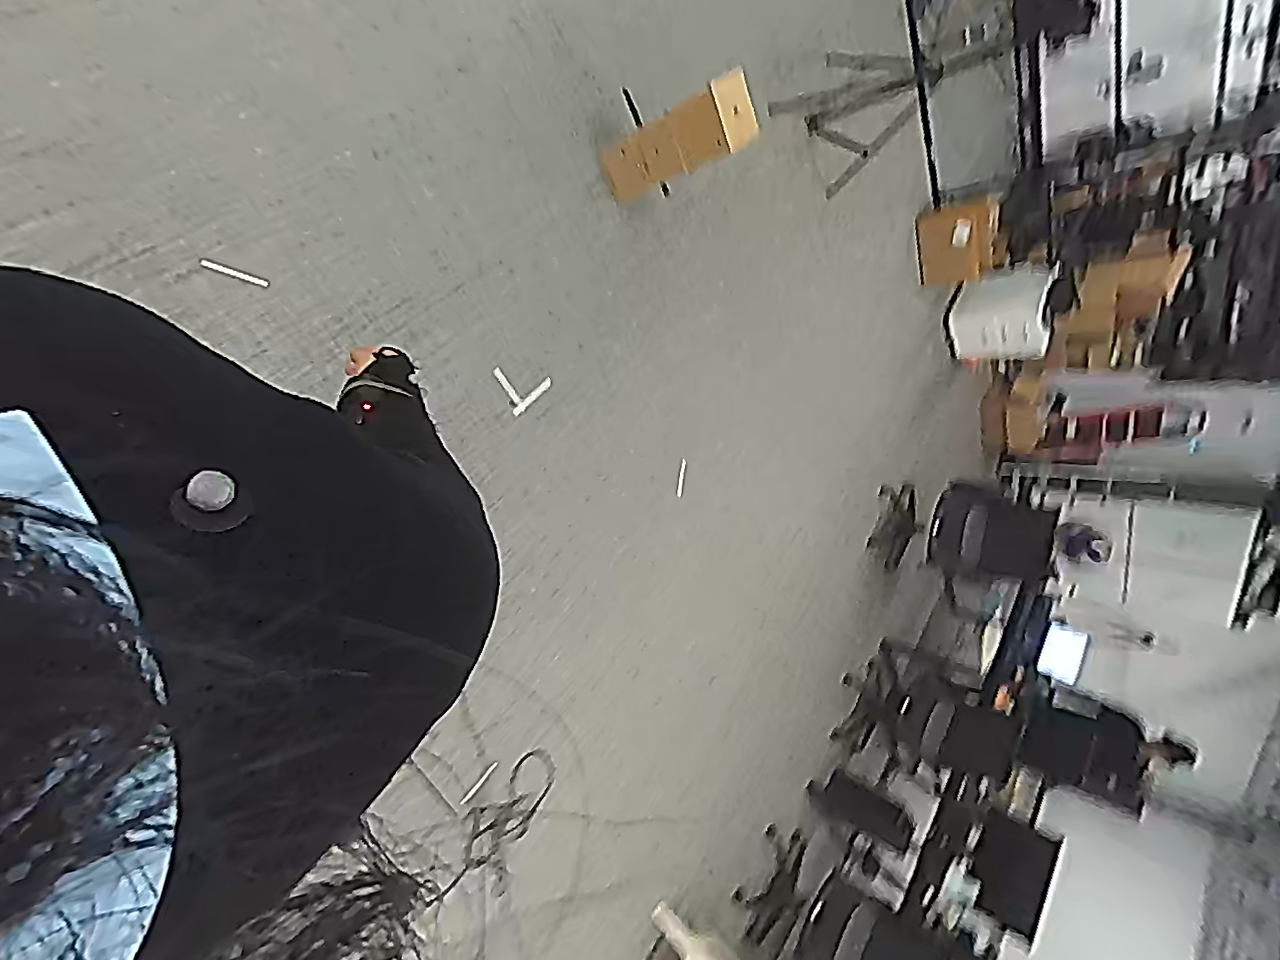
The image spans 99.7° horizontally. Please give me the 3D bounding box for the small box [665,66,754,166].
[{"bbox_3d":[0.200,-1.053,1.574,0.168,0.176,0.179,-48,126,-28],"label":"small box"}]

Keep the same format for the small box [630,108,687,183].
[{"bbox_3d":[0.090,-1.062,1.695,0.179,0.176,0.168,-44,125,-31],"label":"small box"}]
